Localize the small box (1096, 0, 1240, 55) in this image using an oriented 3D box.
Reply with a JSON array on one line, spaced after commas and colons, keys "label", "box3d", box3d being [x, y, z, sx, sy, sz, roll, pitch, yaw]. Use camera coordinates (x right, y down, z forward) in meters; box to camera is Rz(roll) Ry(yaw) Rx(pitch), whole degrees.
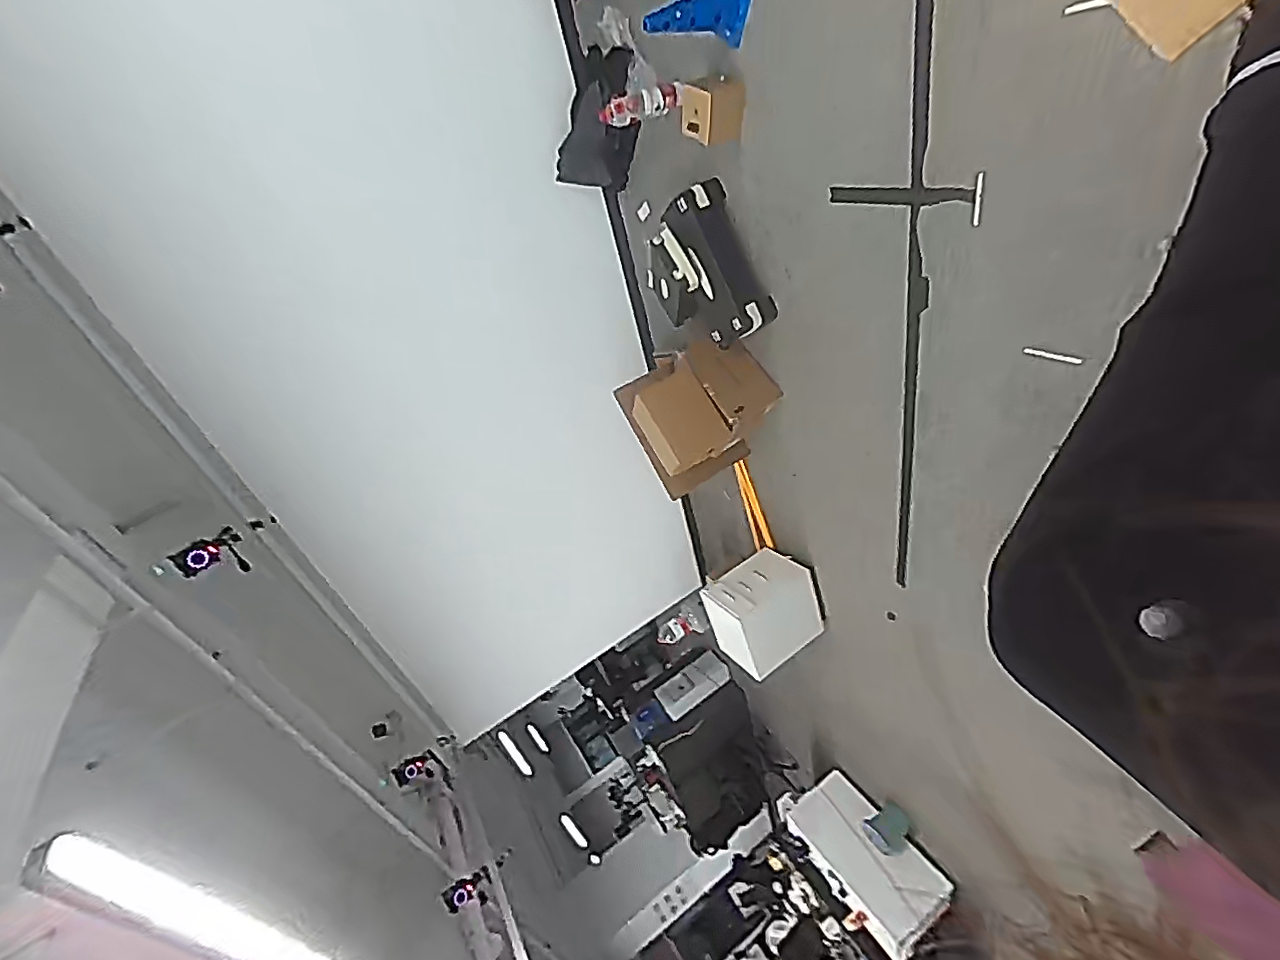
[{"label": "small box", "box3d": [0.255, -0.319, 0.195, 0.179, 0.176, 0.168, 51, 160, 2]}]
